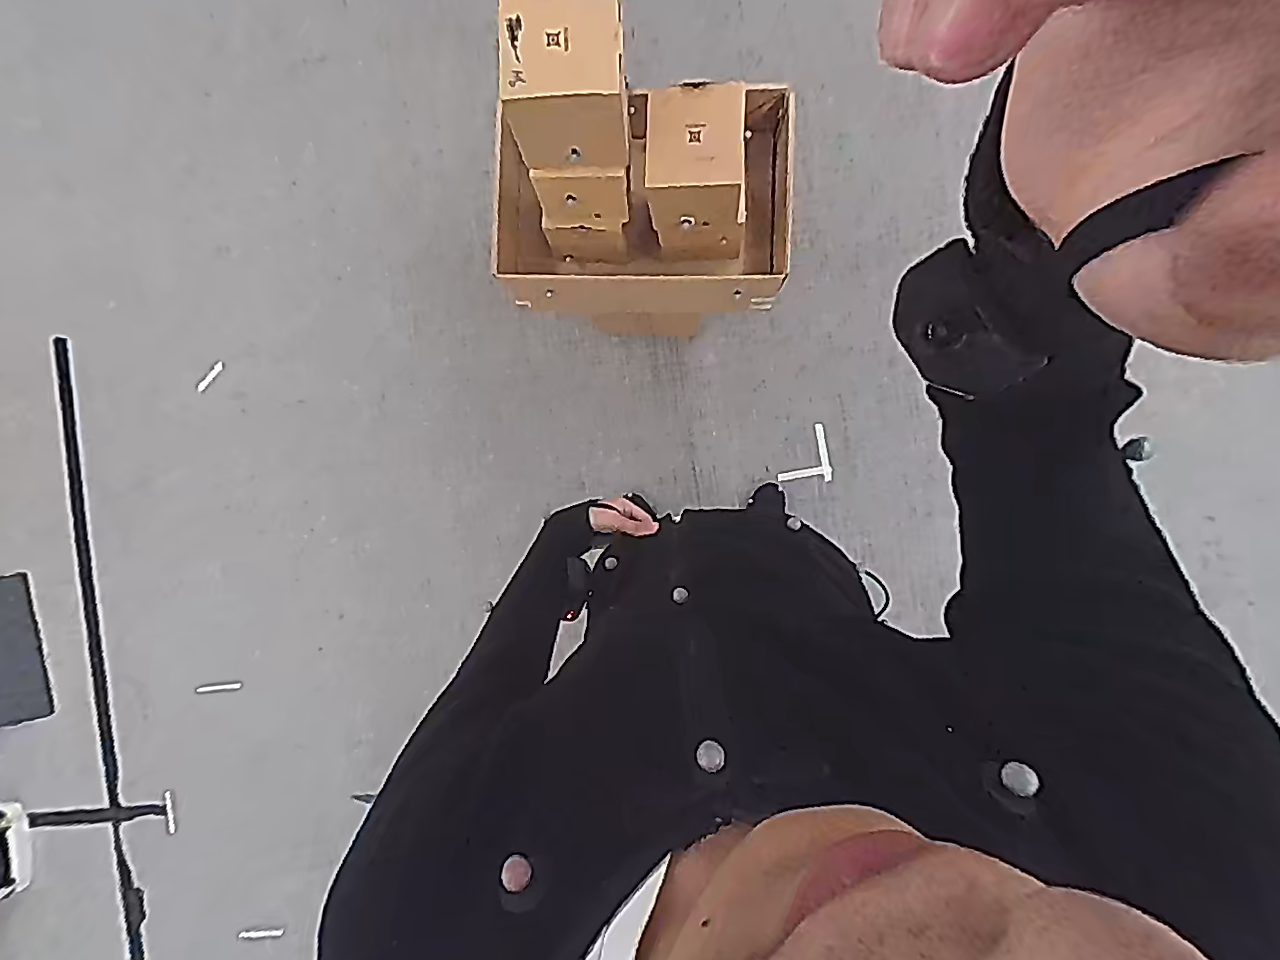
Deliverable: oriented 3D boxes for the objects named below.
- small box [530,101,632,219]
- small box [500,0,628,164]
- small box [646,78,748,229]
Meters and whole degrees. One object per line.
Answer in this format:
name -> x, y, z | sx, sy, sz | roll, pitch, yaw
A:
small box -> -0.102, -0.607, 1.004 | 0.168, 0.176, 0.179 | 1, 89, 2
small box -> -0.109, -0.620, 0.841 | 0.179, 0.176, 0.168 | 0, 88, 2
small box -> 0.103, -0.583, 0.983 | 0.168, 0.176, 0.179 | 2, 89, 7
